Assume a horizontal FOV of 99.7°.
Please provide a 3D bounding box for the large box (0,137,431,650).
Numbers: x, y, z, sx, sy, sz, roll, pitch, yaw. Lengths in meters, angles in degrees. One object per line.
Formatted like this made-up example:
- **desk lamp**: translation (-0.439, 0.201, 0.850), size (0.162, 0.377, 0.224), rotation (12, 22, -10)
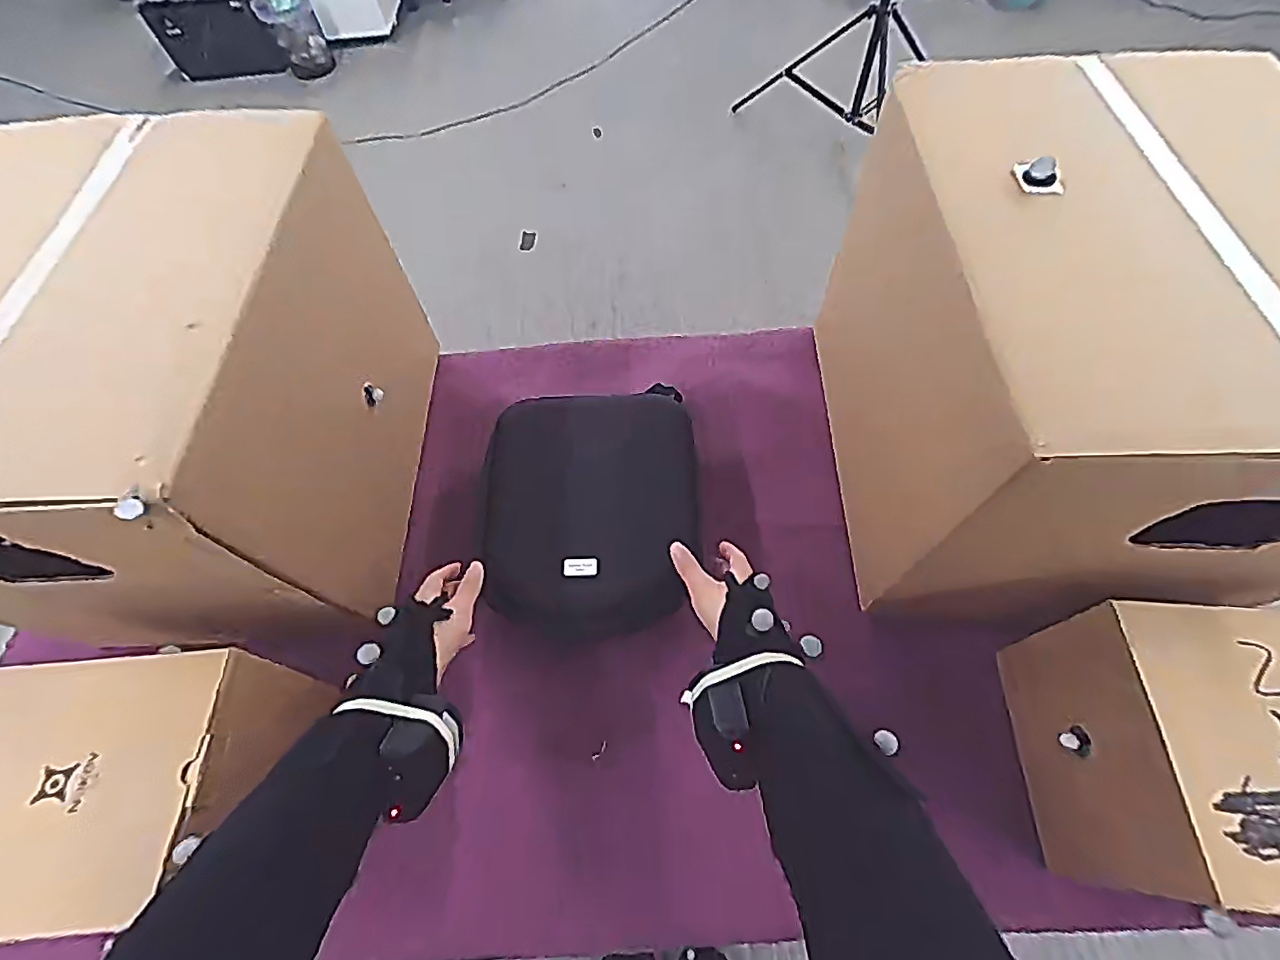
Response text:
- **large box**: translation (-0.430, -0.069, 0.544), size (0.320, 0.320, 0.408), rotation (-4, 62, 0)
